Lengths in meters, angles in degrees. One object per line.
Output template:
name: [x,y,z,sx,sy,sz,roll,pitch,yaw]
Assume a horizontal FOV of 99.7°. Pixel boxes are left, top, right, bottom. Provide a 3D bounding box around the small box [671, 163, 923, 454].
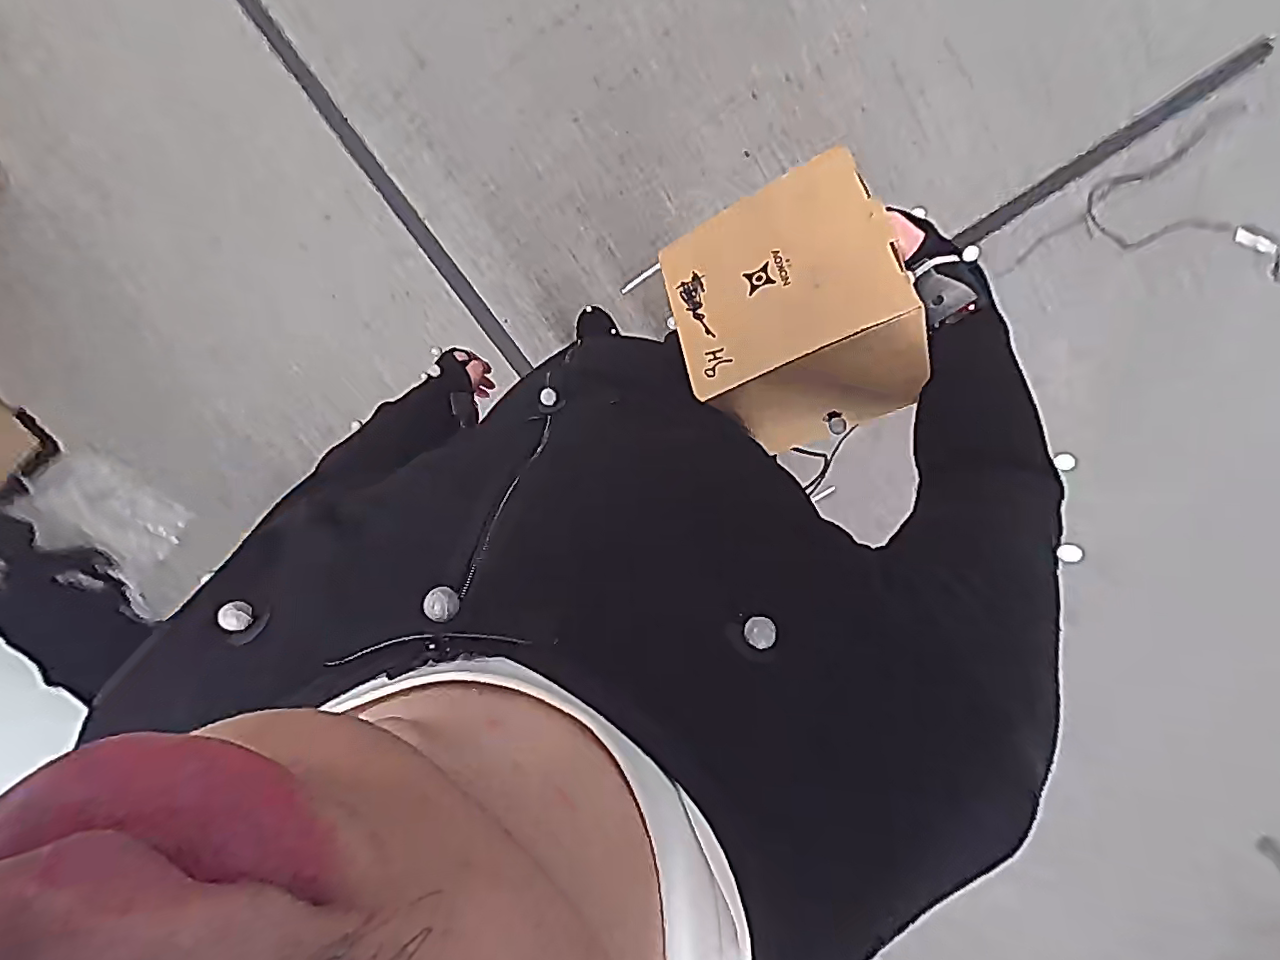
small box: [0.154,-0.144,0.519,0.179,0.176,0.168,-21,65,24]
